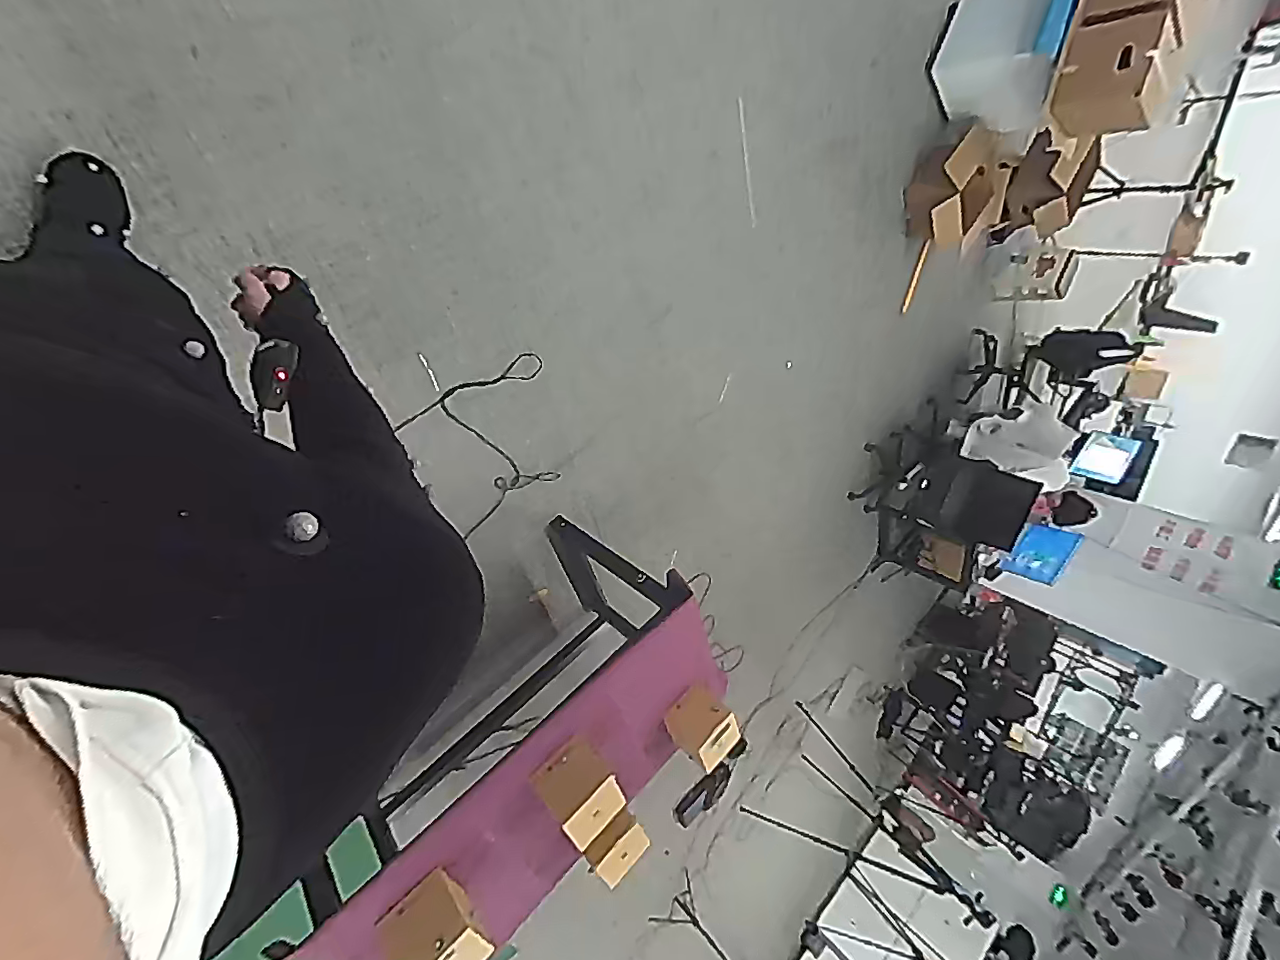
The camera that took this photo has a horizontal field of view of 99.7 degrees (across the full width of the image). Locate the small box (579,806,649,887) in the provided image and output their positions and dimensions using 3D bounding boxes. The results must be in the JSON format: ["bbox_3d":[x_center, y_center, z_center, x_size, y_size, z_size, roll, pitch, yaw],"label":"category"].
[{"bbox_3d":[-0.104,1.061,1.625,0.168,0.176,0.179,-39,131,-25],"label":"small box"}]

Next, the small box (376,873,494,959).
[{"bbox_3d":[-0.474,1.064,1.253,0.168,0.176,0.179,-36,134,-29],"label":"small box"}]

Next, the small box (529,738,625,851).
[{"bbox_3d":[-0.168,0.832,1.446,0.168,0.176,0.179,-37,132,-27],"label":"small box"}]
